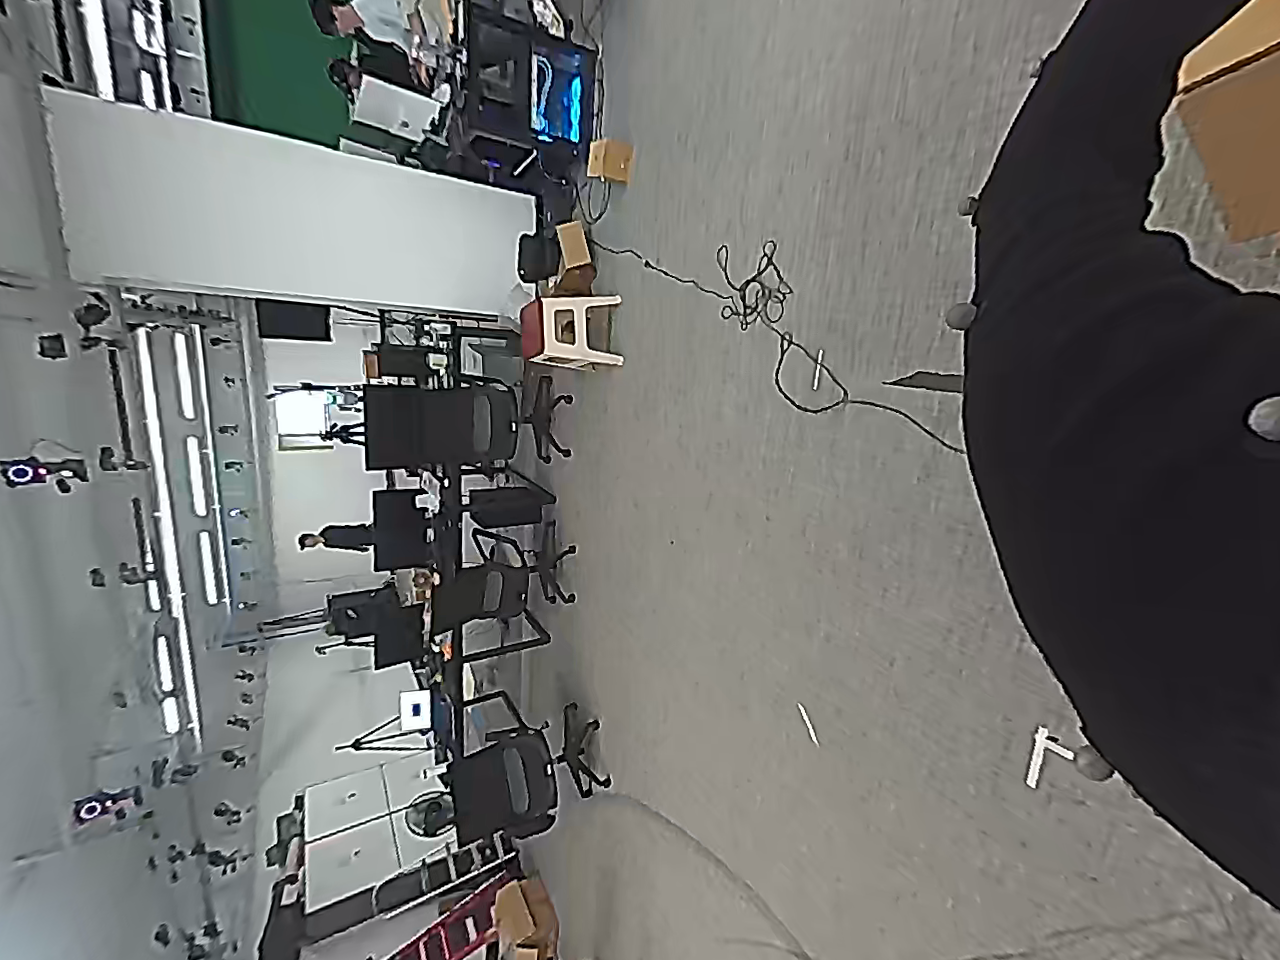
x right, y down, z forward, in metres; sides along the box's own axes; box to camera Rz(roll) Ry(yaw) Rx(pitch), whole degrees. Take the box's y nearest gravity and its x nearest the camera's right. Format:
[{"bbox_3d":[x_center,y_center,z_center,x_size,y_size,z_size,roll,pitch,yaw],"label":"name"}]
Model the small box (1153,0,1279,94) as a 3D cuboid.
[{"bbox_3d":[0.522,-0.429,0.406,0.168,0.176,0.179,-2,106,59],"label":"small box"}]
